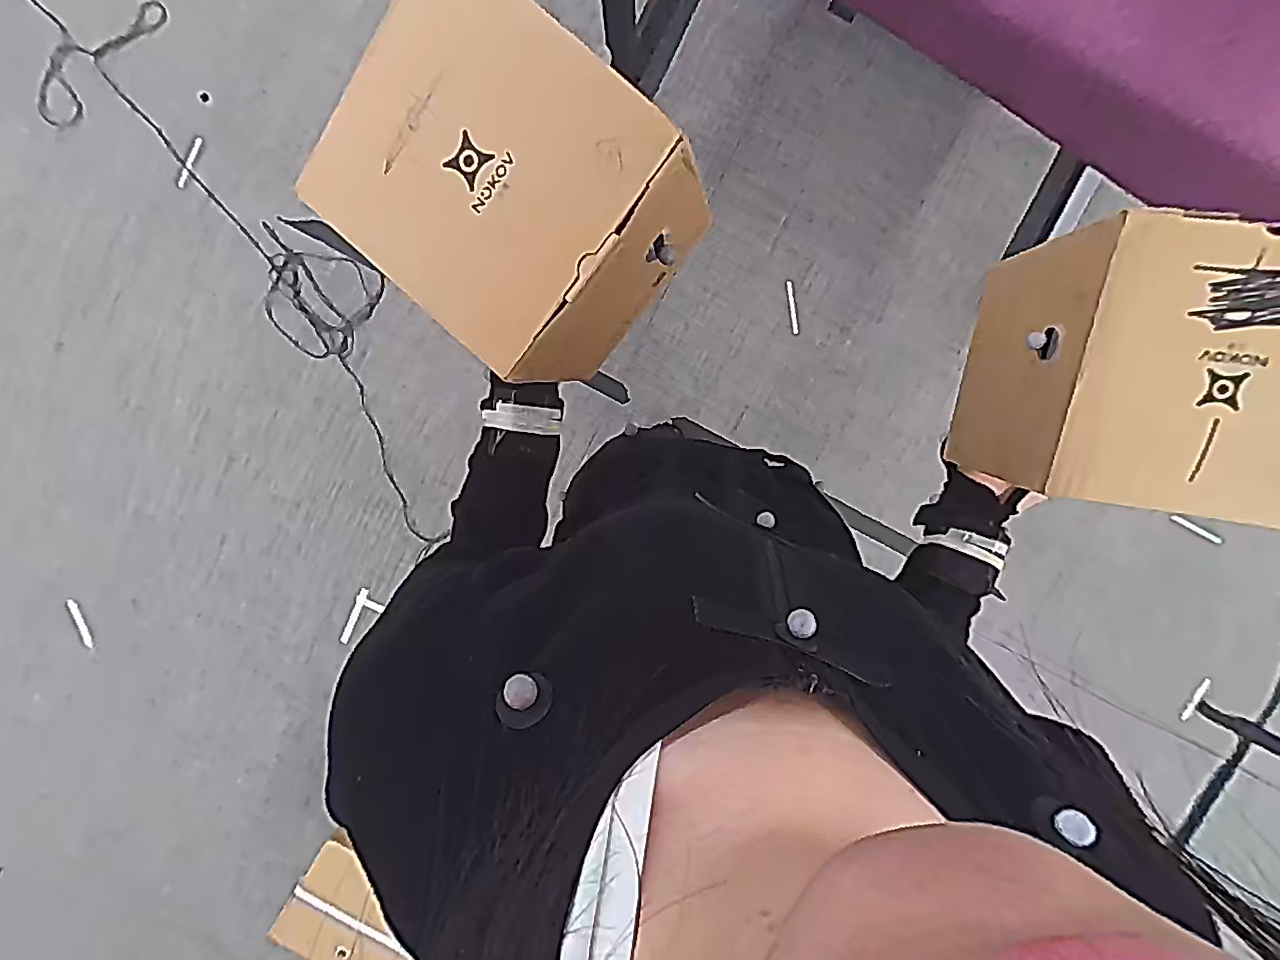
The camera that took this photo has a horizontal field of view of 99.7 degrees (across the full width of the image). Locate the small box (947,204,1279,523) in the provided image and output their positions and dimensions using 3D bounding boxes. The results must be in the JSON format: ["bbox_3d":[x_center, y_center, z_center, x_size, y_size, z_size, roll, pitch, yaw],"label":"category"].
[{"bbox_3d":[0.362,-0.081,0.407,0.168,0.176,0.179,9,102,7],"label":"small box"}]

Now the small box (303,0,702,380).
[{"bbox_3d":[-0.074,-0.189,0.380,0.179,0.176,0.168,41,105,2],"label":"small box"}]
